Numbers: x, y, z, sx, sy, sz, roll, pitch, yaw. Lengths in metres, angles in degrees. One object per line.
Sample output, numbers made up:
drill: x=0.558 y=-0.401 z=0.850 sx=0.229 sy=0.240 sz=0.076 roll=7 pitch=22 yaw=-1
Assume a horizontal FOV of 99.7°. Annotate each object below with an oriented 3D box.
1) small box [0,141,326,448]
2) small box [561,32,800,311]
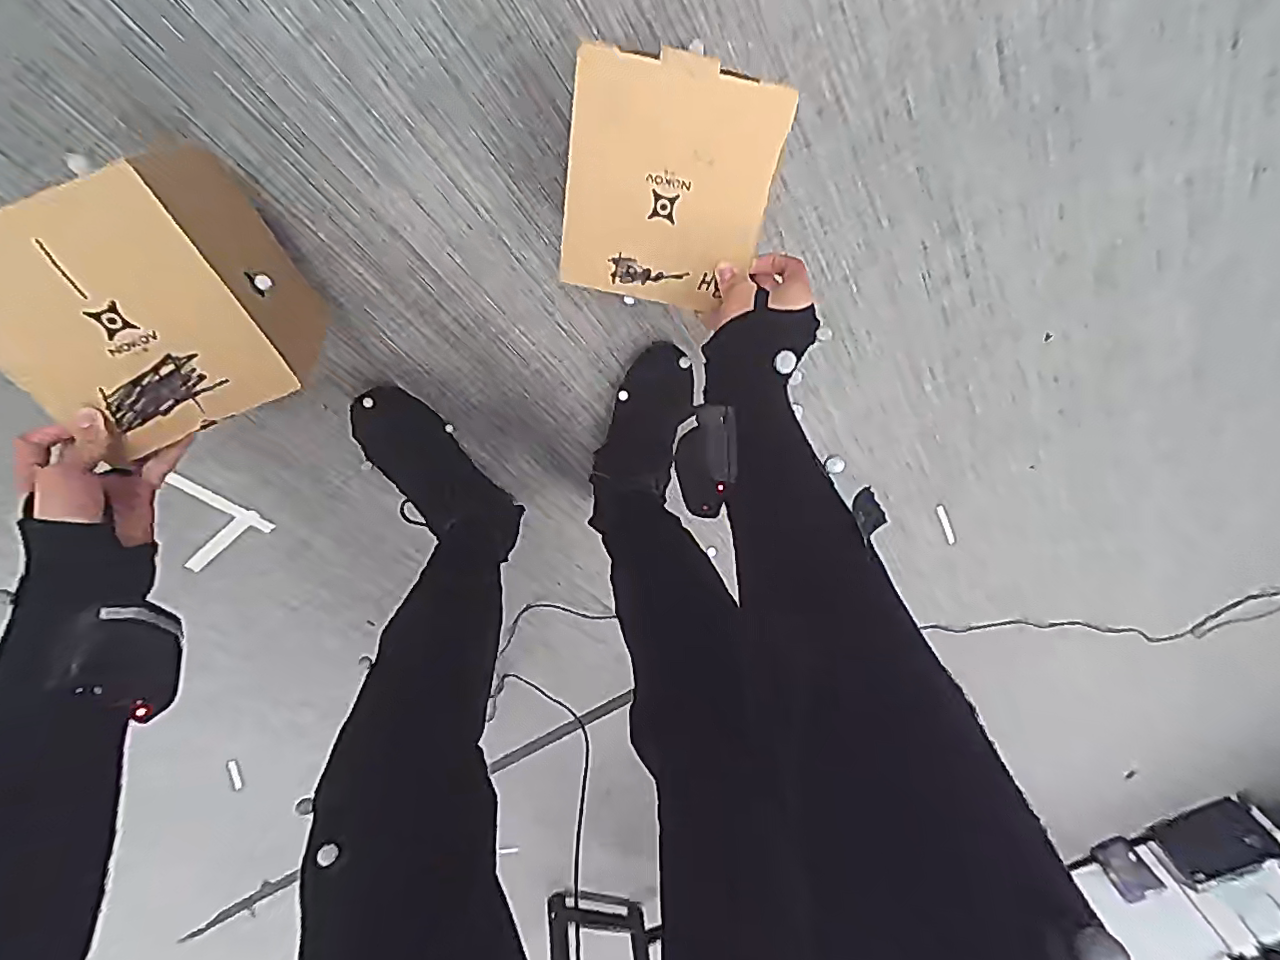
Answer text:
small box: x=-0.403 y=-0.163 z=0.462 sx=0.168 sy=0.176 sz=0.179 roll=-25 pitch=128 yaw=-4
small box: x=0.030 y=-0.283 z=0.505 sx=0.168 sy=0.176 sz=0.179 roll=11 pitch=126 yaw=-1
